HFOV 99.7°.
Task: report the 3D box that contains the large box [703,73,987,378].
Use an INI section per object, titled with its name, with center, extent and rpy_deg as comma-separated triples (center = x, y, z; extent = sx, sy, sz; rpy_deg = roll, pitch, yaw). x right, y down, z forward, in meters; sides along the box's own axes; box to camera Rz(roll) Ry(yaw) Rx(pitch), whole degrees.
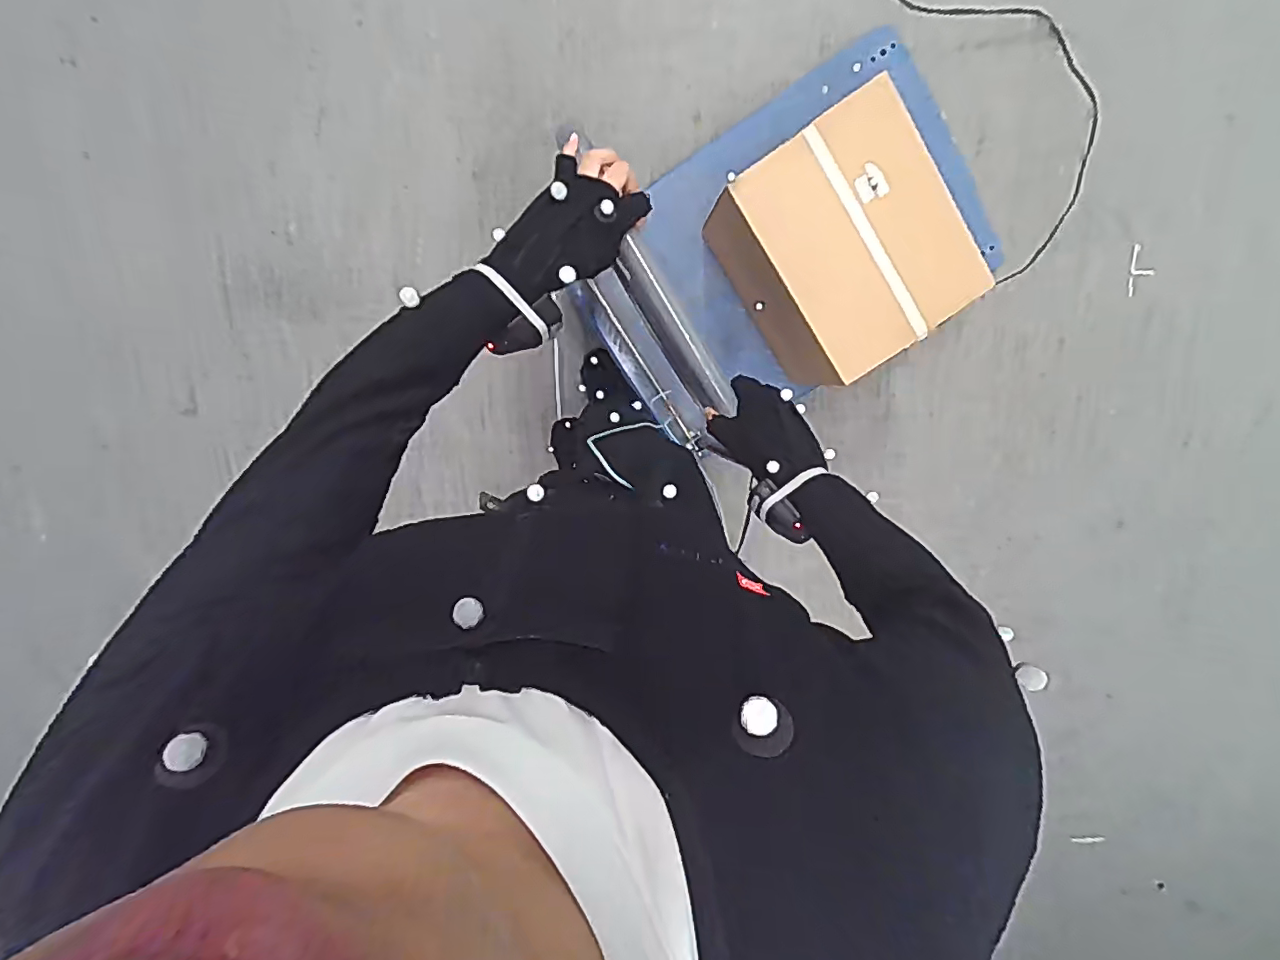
[large box]
center = 0.373, -0.454, 1.076
extent = 0.320, 0.320, 0.408
rpy_deg = -34, 99, 4
